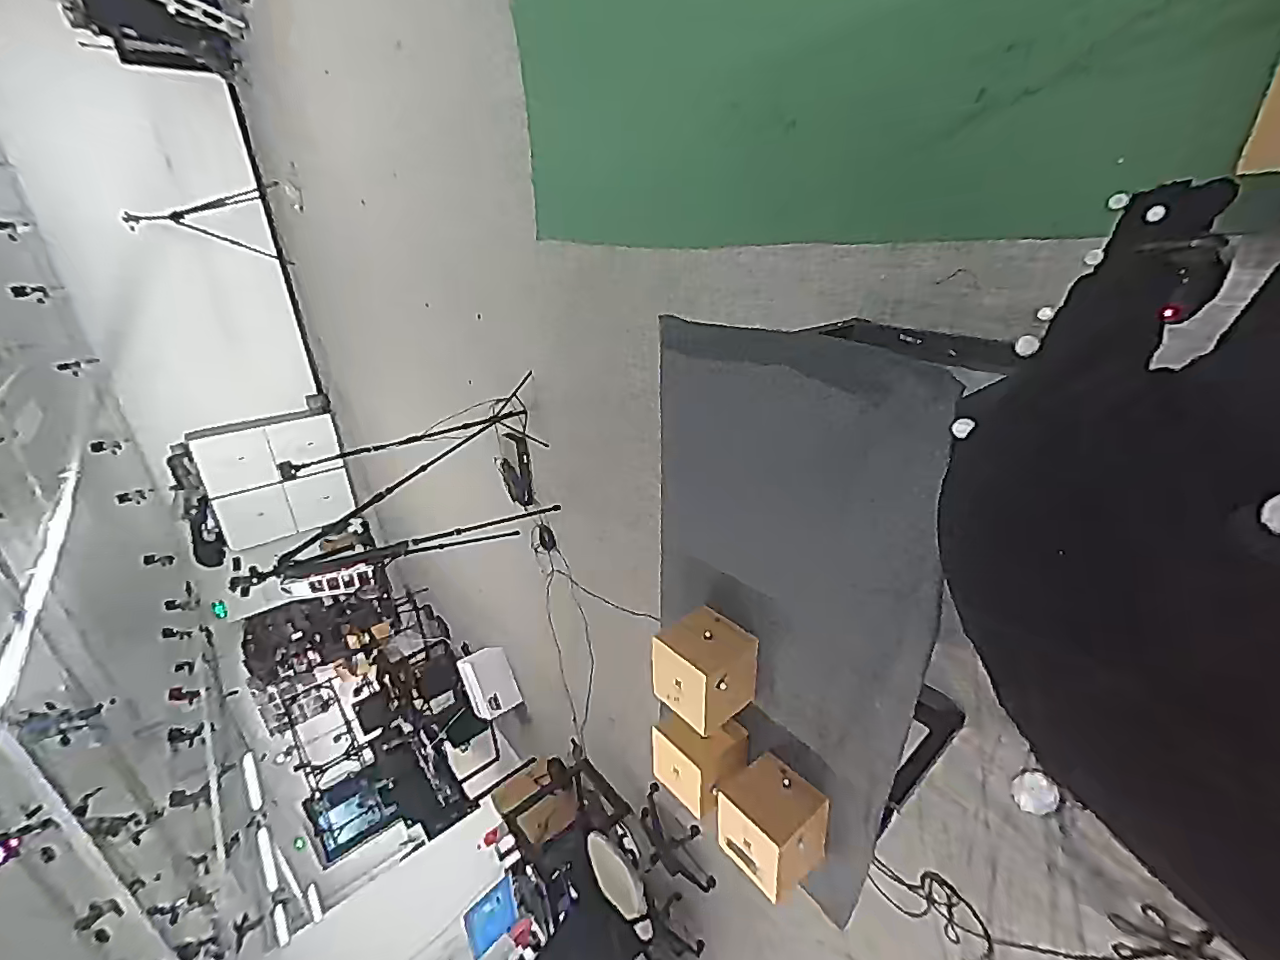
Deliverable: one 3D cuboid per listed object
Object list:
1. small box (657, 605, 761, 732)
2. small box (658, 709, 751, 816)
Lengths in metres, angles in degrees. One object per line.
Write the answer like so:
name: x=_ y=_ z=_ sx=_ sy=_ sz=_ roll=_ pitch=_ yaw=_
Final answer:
small box: x=0.155 y=0.412 z=1.214 sx=0.168 sy=0.176 sz=0.179 roll=25 pitch=126 yaw=46
small box: x=0.161 y=0.668 z=1.342 sx=0.168 sy=0.176 sz=0.179 roll=24 pitch=126 yaw=45
